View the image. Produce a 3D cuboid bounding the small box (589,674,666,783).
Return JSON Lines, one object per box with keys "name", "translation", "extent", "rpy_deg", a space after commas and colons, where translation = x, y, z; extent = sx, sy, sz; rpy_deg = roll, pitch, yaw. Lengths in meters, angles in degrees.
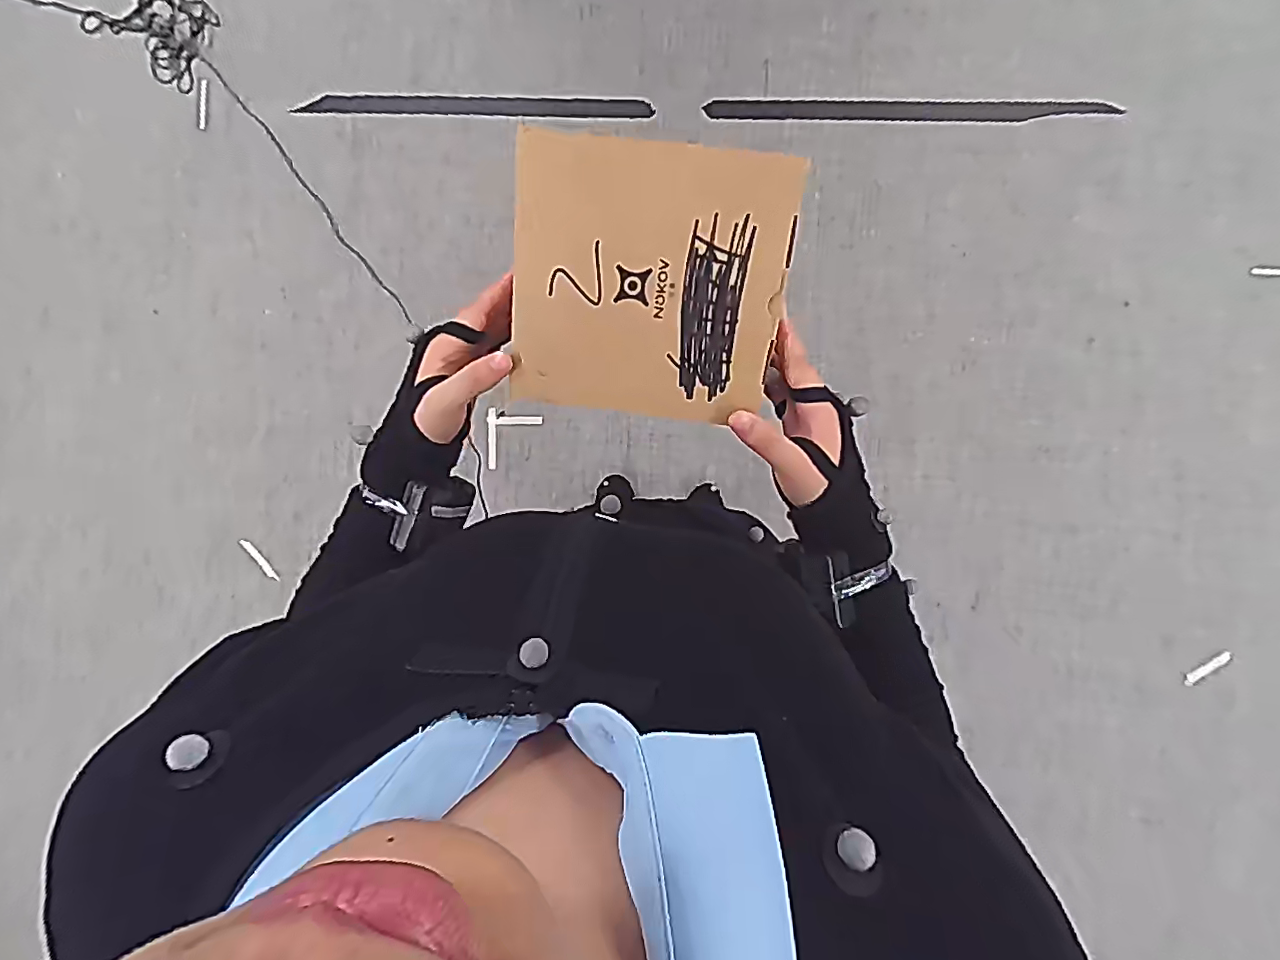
{"name": "small box", "translation": [-0.025, 0.574, 1.264], "extent": [0.168, 0.176, 0.179], "rpy_deg": [0, 91, 4]}
